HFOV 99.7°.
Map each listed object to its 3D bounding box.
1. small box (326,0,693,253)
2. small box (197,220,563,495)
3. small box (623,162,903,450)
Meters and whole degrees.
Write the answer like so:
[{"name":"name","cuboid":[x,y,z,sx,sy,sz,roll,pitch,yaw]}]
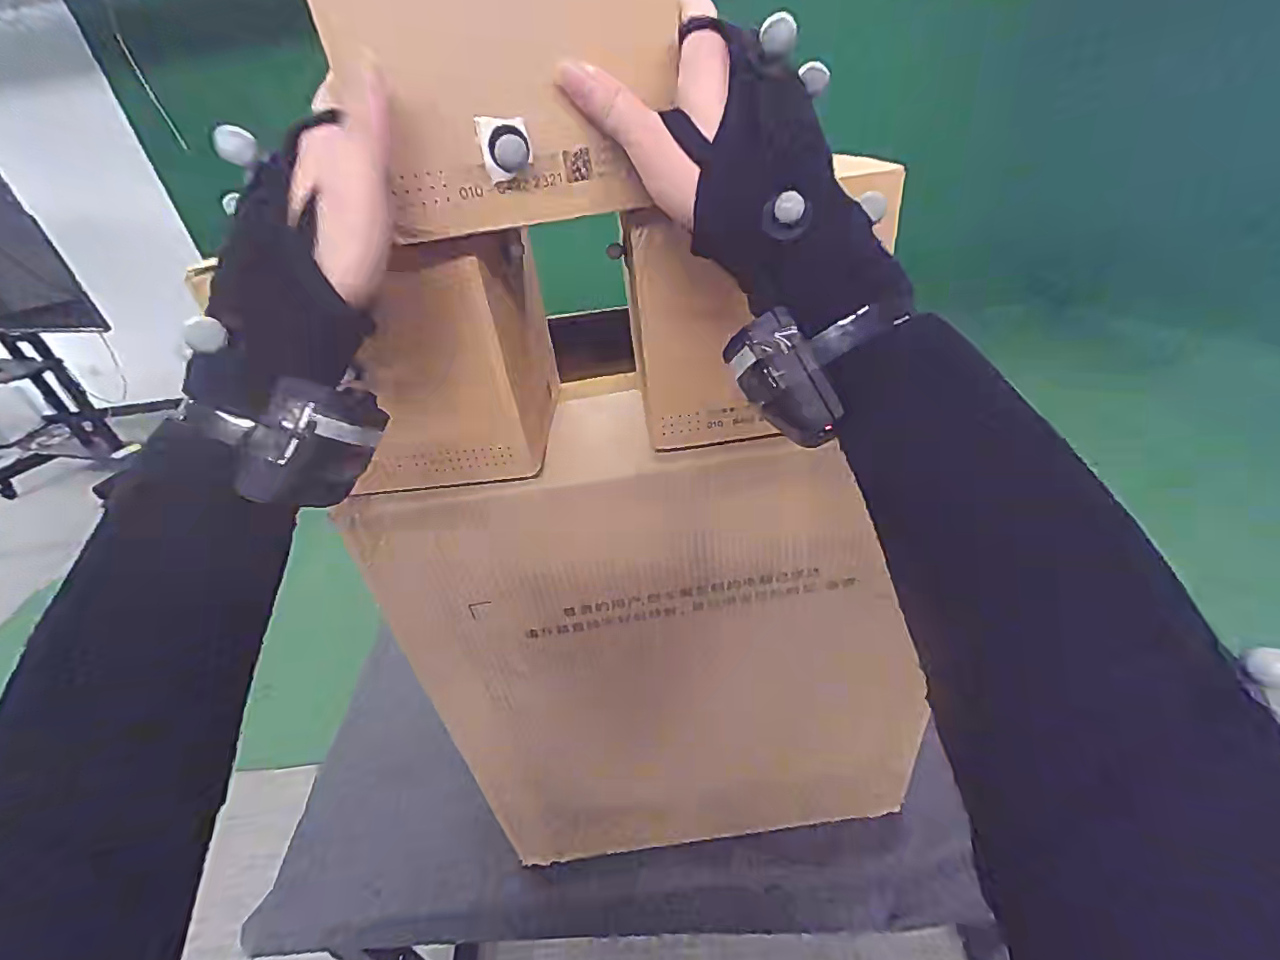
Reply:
[{"name":"small box","cuboid":[-0.074,-0.245,0.322,0.168,0.176,0.179,-14,35,-6]},{"name":"small box","cuboid":[-0.169,-0.101,0.423,0.179,0.176,0.168,-6,35,3]},{"name":"small box","cuboid":[0.076,-0.143,0.429,0.168,0.176,0.179,-8,34,0]}]
